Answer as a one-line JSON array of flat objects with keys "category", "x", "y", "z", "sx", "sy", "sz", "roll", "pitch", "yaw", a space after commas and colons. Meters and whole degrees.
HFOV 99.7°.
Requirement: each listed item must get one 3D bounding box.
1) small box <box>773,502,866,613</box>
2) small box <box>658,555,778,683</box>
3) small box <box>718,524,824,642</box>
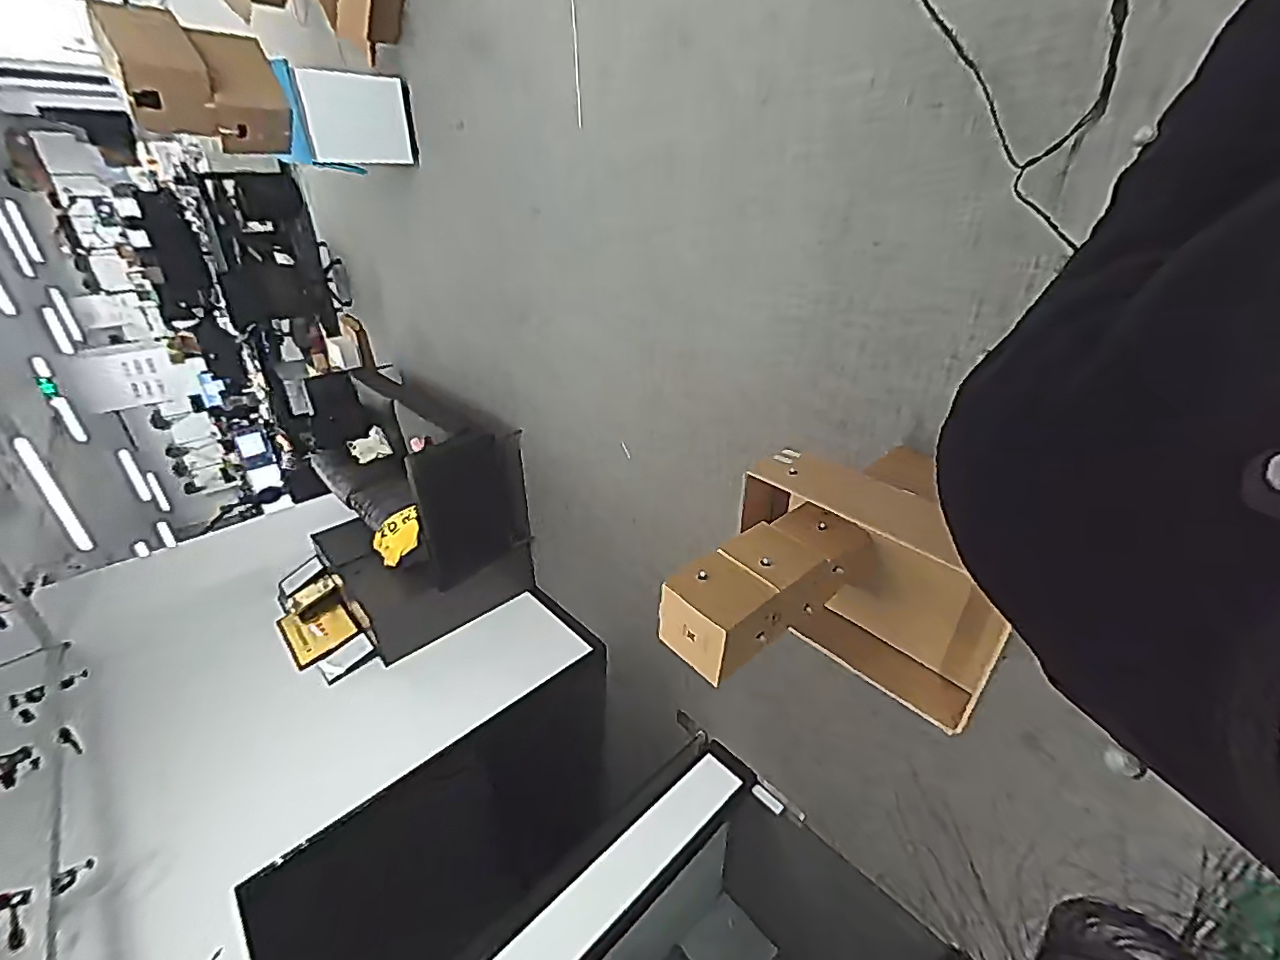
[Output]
[{"category": "small box", "x": 0.421, "y": 0.180, "z": 1.315, "sx": 0.168, "sy": 0.176, "sz": 0.179, "roll": 35, "pitch": 134, "yaw": 37}, {"category": "small box", "x": 0.162, "y": 0.281, "z": 1.142, "sx": 0.179, "sy": 0.176, "sz": 0.168, "roll": 33, "pitch": 133, "yaw": 38}, {"category": "small box", "x": 0.288, "y": 0.224, "z": 1.228, "sx": 0.179, "sy": 0.176, "sz": 0.168, "roll": 34, "pitch": 133, "yaw": 39}]
